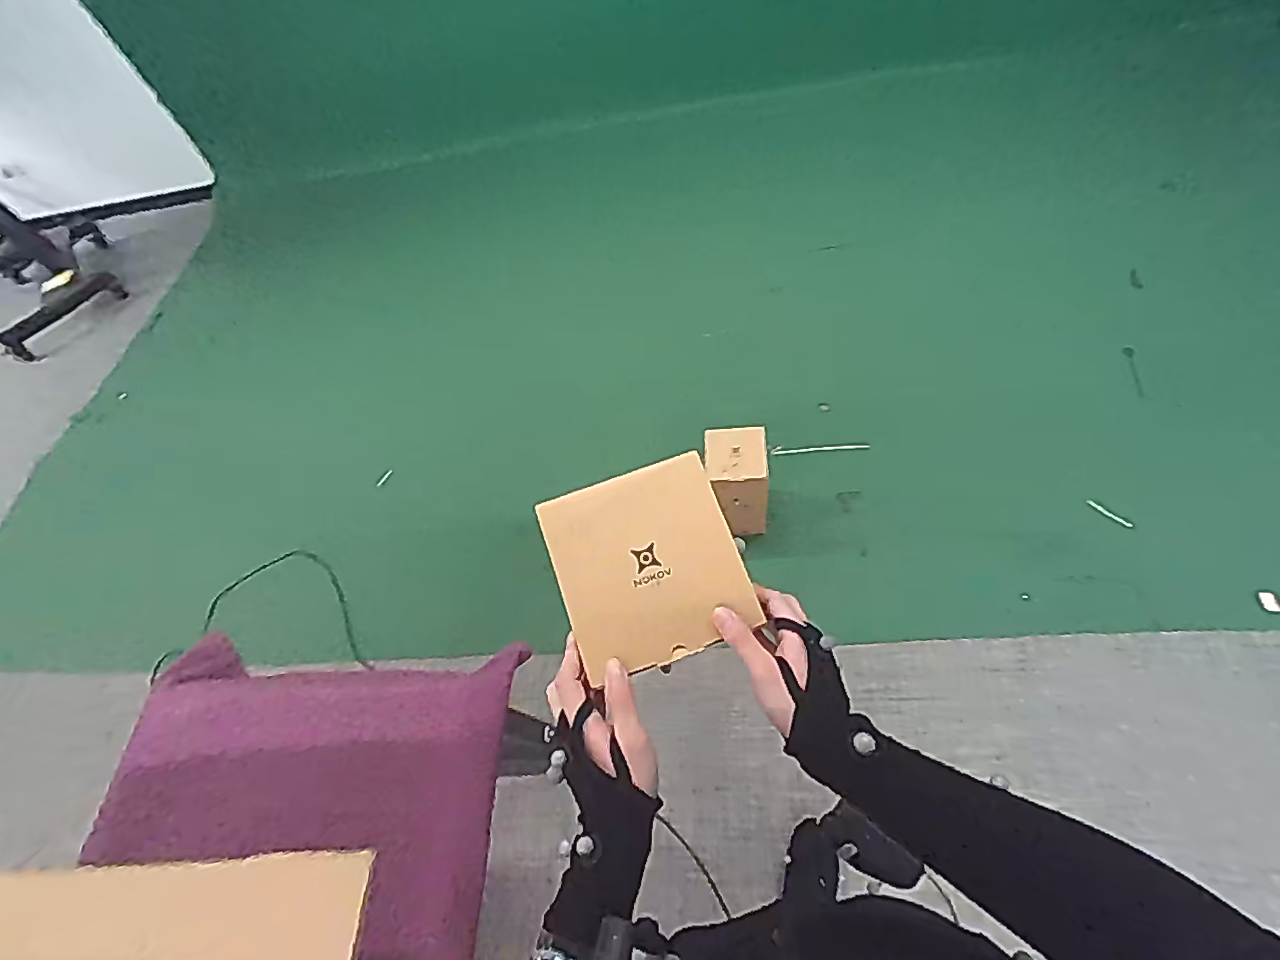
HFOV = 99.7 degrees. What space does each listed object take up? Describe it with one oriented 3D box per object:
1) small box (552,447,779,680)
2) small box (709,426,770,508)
[{"bbox_3d":[0.019,0.093,0.565,0.168,0.176,0.179,-18,74,-5],"label":"small box"},{"bbox_3d":[0.282,-0.034,1.550,0.168,0.176,0.179,-3,58,11],"label":"small box"}]
